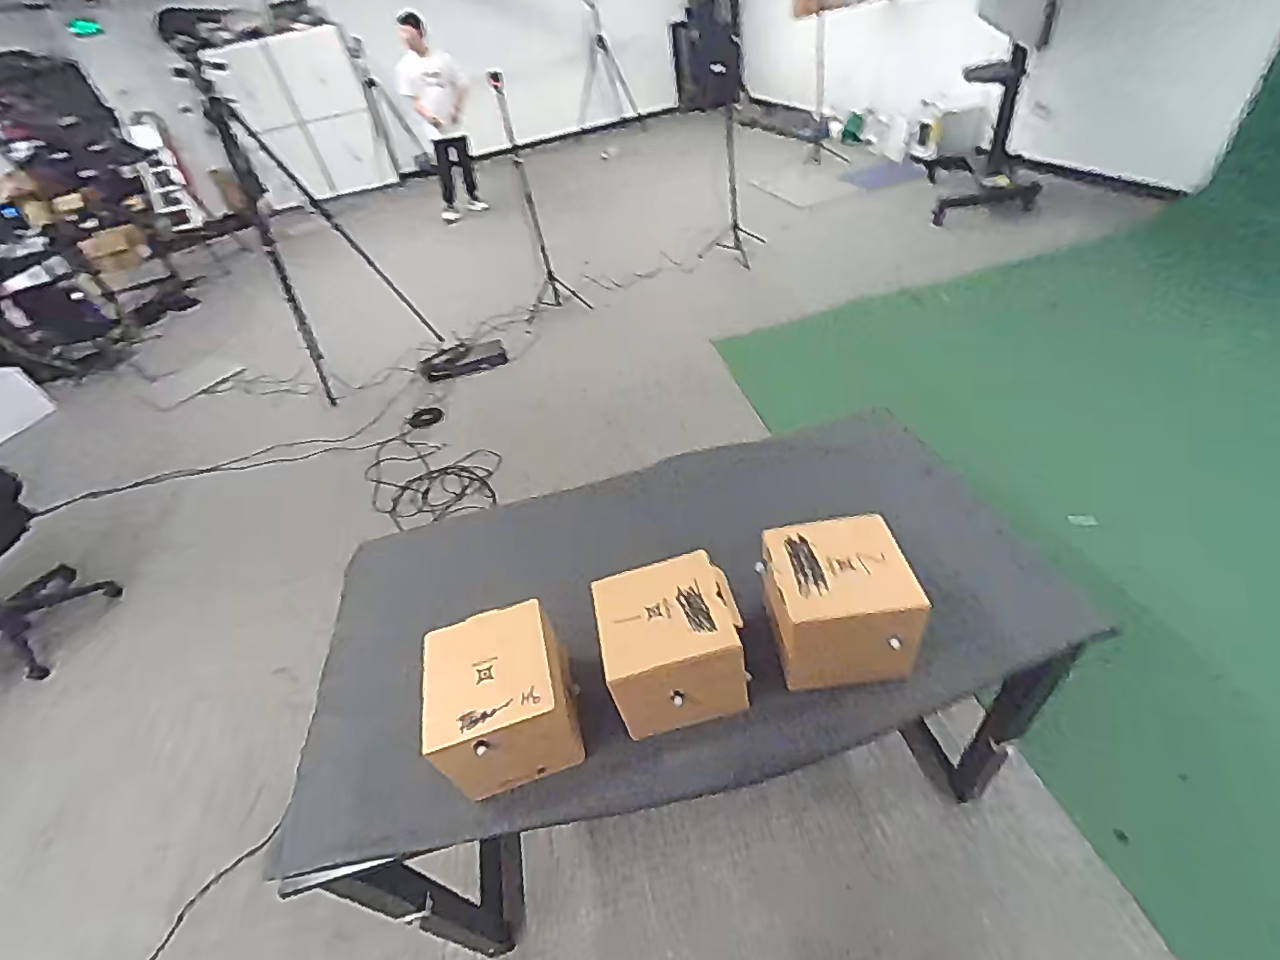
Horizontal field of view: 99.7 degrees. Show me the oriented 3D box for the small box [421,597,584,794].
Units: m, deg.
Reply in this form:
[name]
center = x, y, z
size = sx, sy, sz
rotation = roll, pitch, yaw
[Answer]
[small box]
center = -0.188, 0.302, 0.761
size = 0.168, 0.176, 0.179
rotation = -18, 42, -4
